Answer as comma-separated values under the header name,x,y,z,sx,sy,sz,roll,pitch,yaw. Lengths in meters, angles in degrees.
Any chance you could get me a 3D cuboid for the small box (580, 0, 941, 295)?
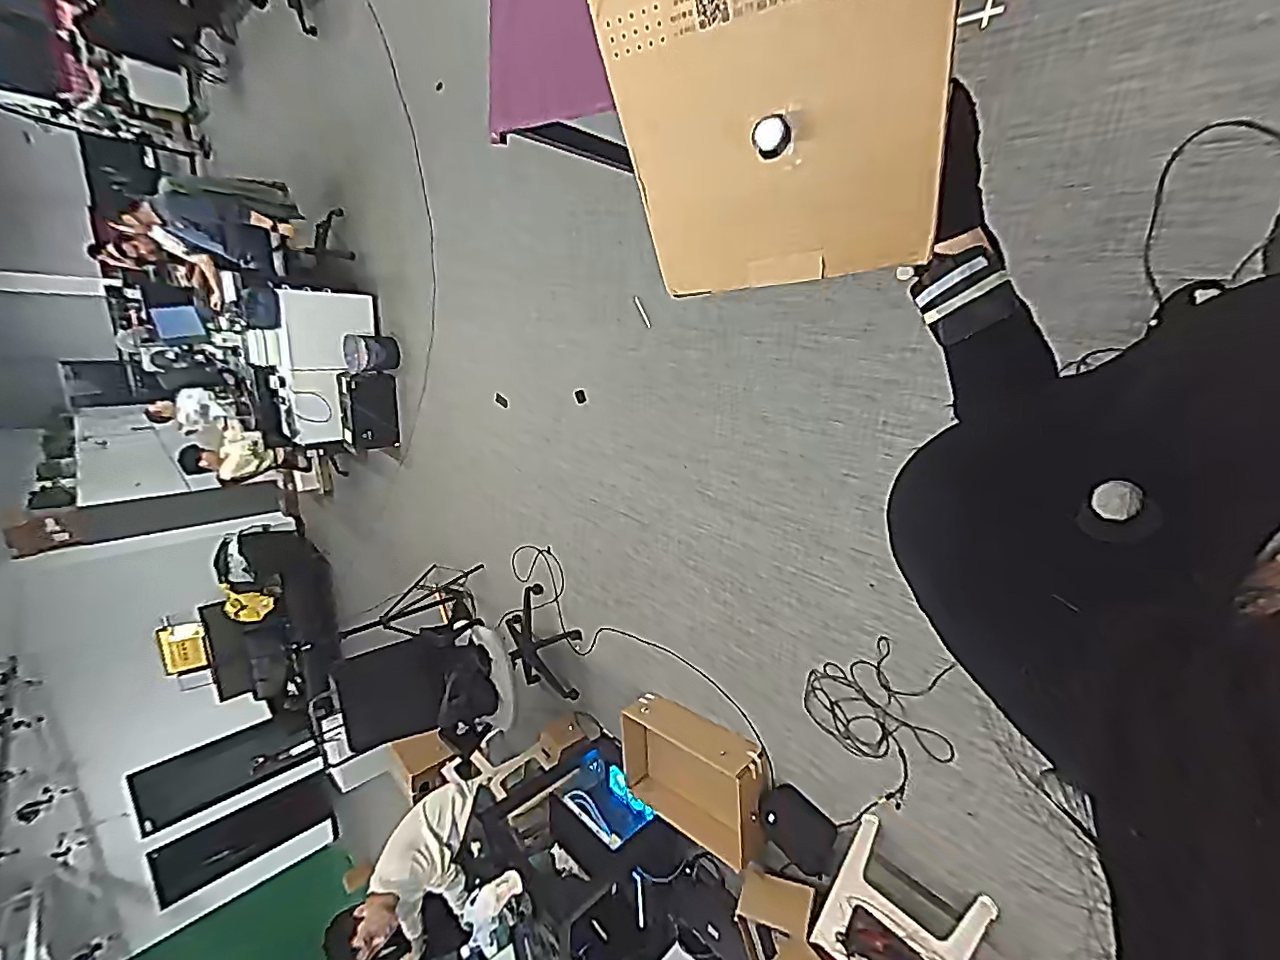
name,x,y,z,sx,sy,sz,roll,pitch,yaw
small box,0.084,-0.243,0.331,0.168,0.179,0.176,1,138,24
